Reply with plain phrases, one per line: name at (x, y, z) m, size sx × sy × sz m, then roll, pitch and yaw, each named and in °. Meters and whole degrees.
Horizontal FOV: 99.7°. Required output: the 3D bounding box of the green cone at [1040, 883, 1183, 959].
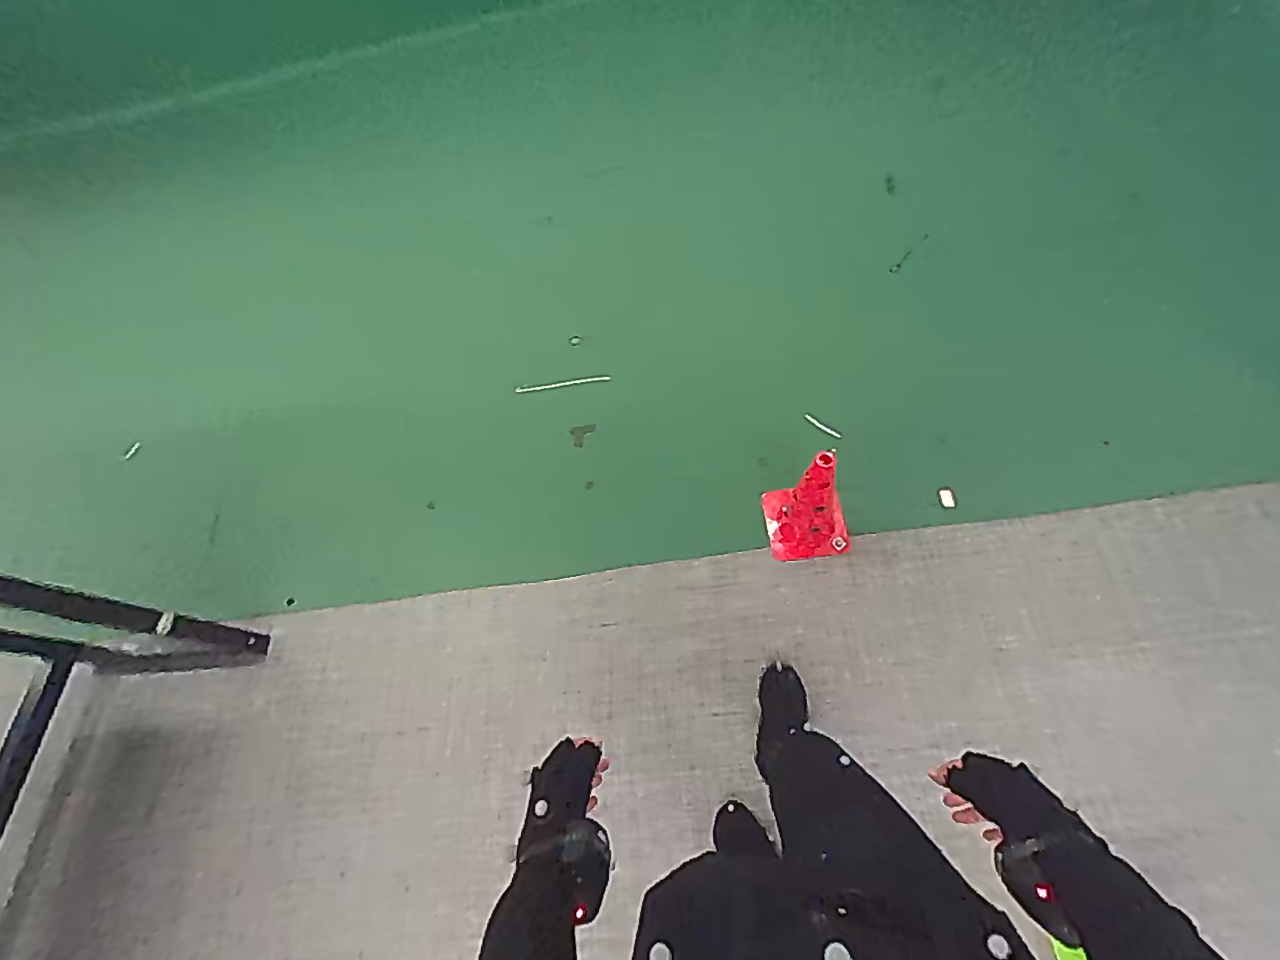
green cone at (0.840, 0.793, 0.834) m, size 0.200 × 0.368 × 0.202 m, roll -10°, pitch 64°, yaw 5°
